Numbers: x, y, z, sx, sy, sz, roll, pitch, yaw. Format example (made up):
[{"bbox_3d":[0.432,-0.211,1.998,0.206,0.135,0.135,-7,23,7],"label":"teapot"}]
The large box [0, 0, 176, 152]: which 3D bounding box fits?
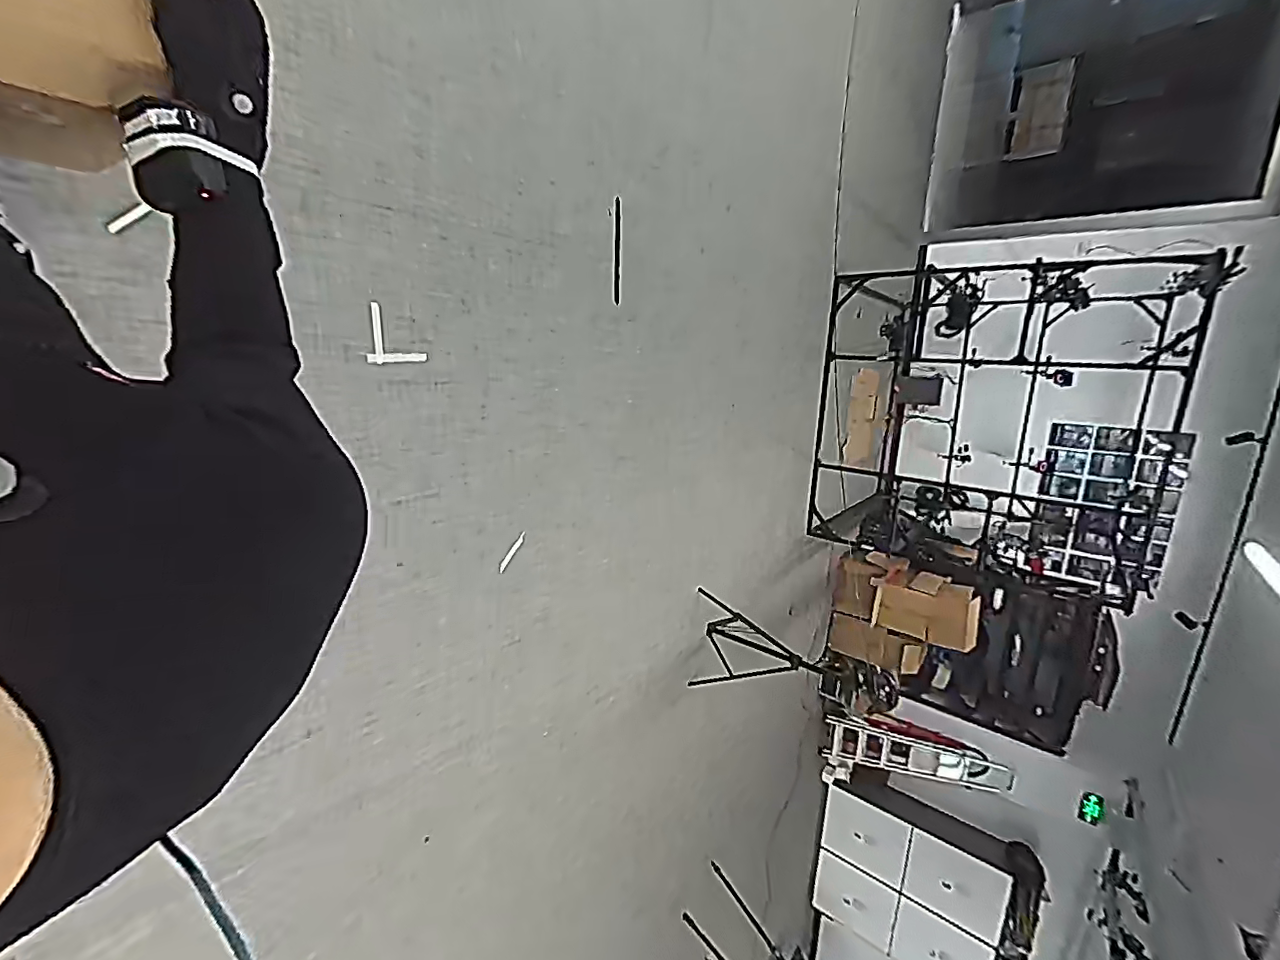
[{"bbox_3d":[-0.594,-0.436,0.316,0.408,0.320,0.320,-16,116,-52],"label":"large box"}]
